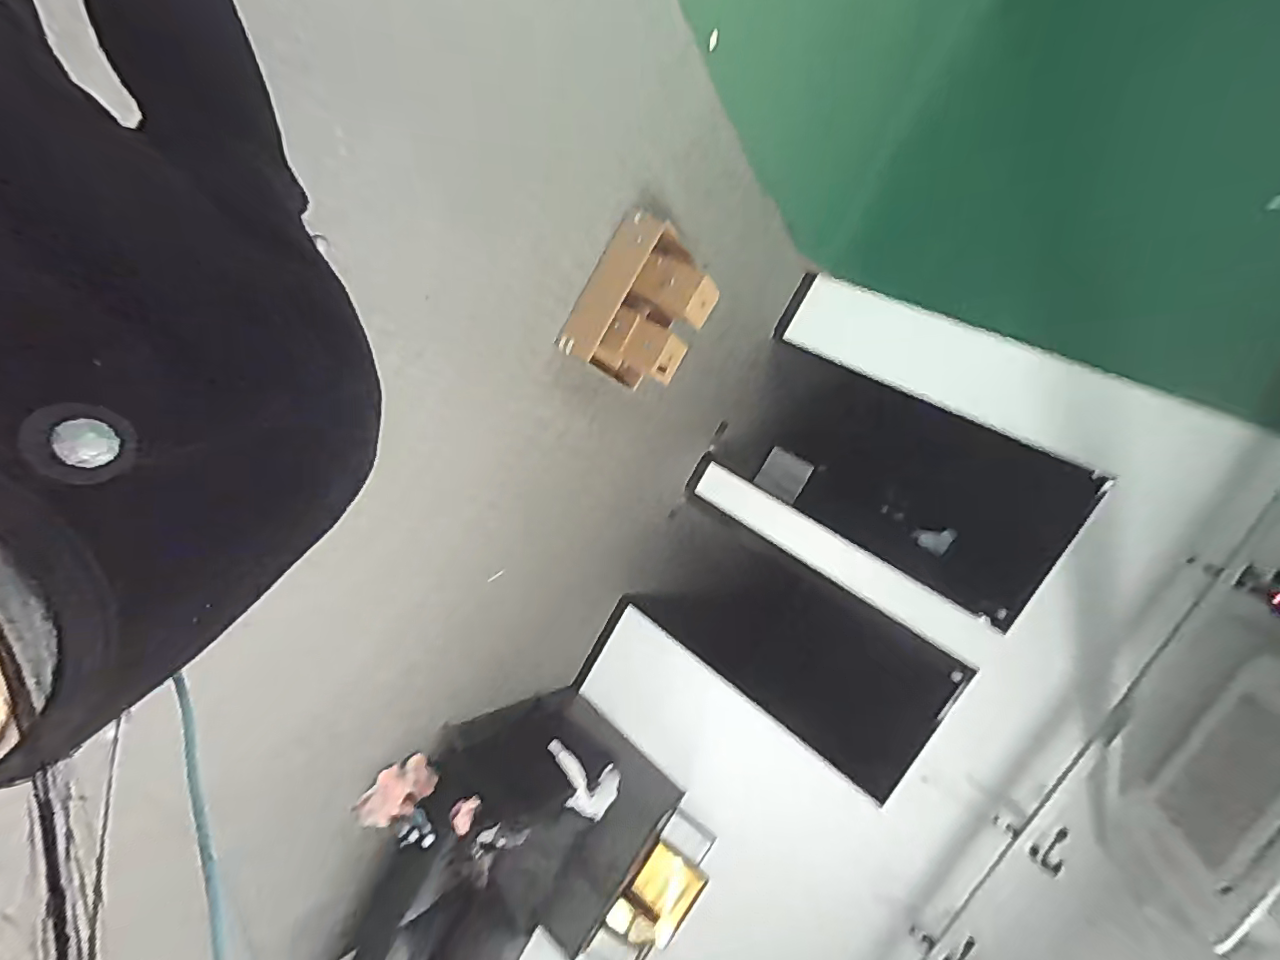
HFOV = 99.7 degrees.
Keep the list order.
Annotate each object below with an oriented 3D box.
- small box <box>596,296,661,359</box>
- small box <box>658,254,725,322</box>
[{"bbox_3d":[-0.050,-0.628,2.214,0.168,0.176,0.179,14,106,-59],"label":"small box"},{"bbox_3d":[0.203,-0.756,2.122,0.168,0.176,0.179,-59,152,5],"label":"small box"}]
